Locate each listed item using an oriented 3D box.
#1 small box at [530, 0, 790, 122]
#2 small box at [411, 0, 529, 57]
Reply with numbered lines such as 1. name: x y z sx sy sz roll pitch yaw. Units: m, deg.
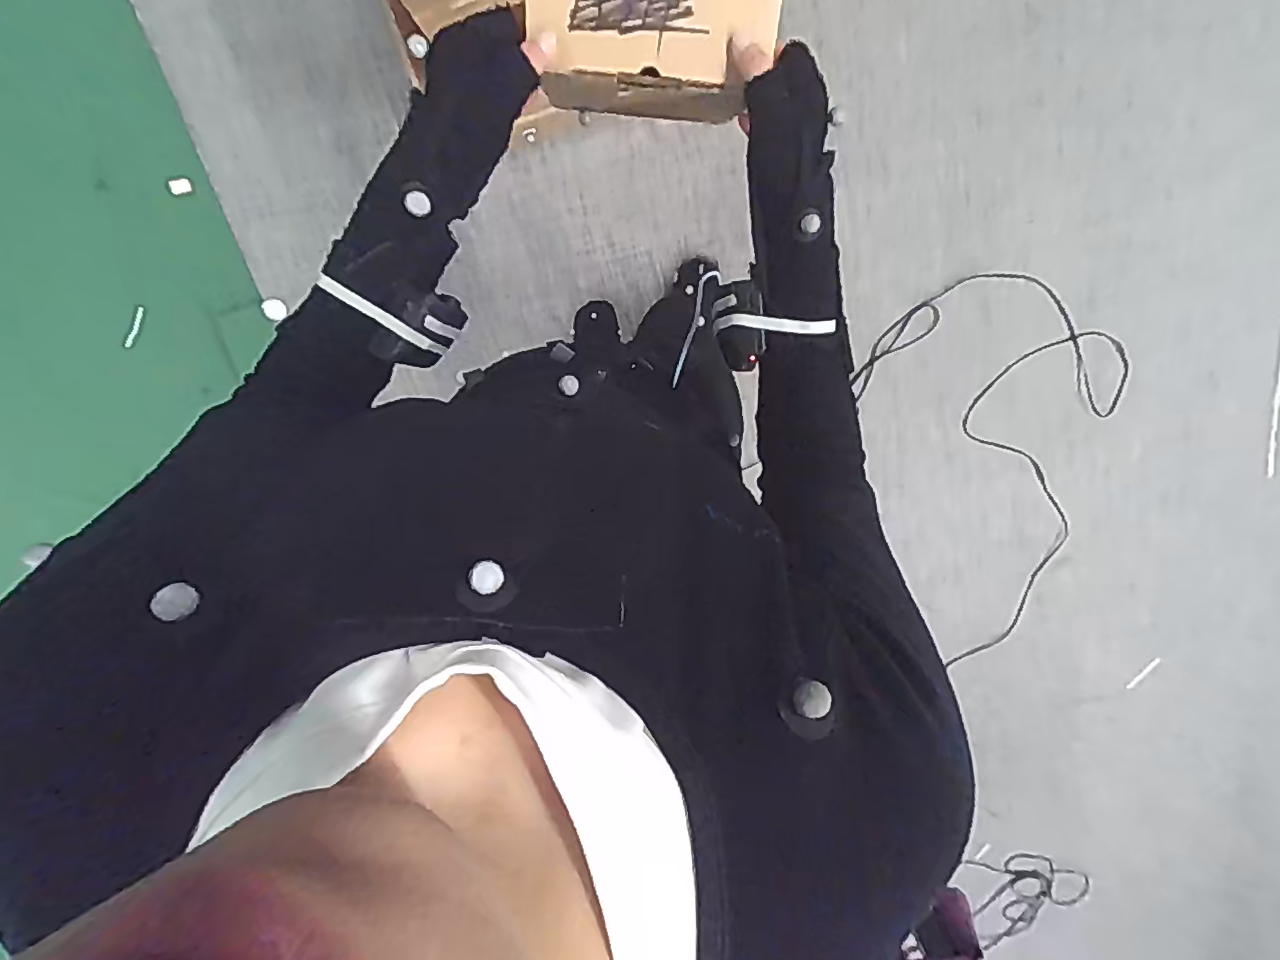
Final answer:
1. small box: 0.016 -0.378 0.391 0.168 0.176 0.179 5 117 -7
2. small box: -0.296 -0.848 0.887 0.168 0.176 0.179 -15 109 3
